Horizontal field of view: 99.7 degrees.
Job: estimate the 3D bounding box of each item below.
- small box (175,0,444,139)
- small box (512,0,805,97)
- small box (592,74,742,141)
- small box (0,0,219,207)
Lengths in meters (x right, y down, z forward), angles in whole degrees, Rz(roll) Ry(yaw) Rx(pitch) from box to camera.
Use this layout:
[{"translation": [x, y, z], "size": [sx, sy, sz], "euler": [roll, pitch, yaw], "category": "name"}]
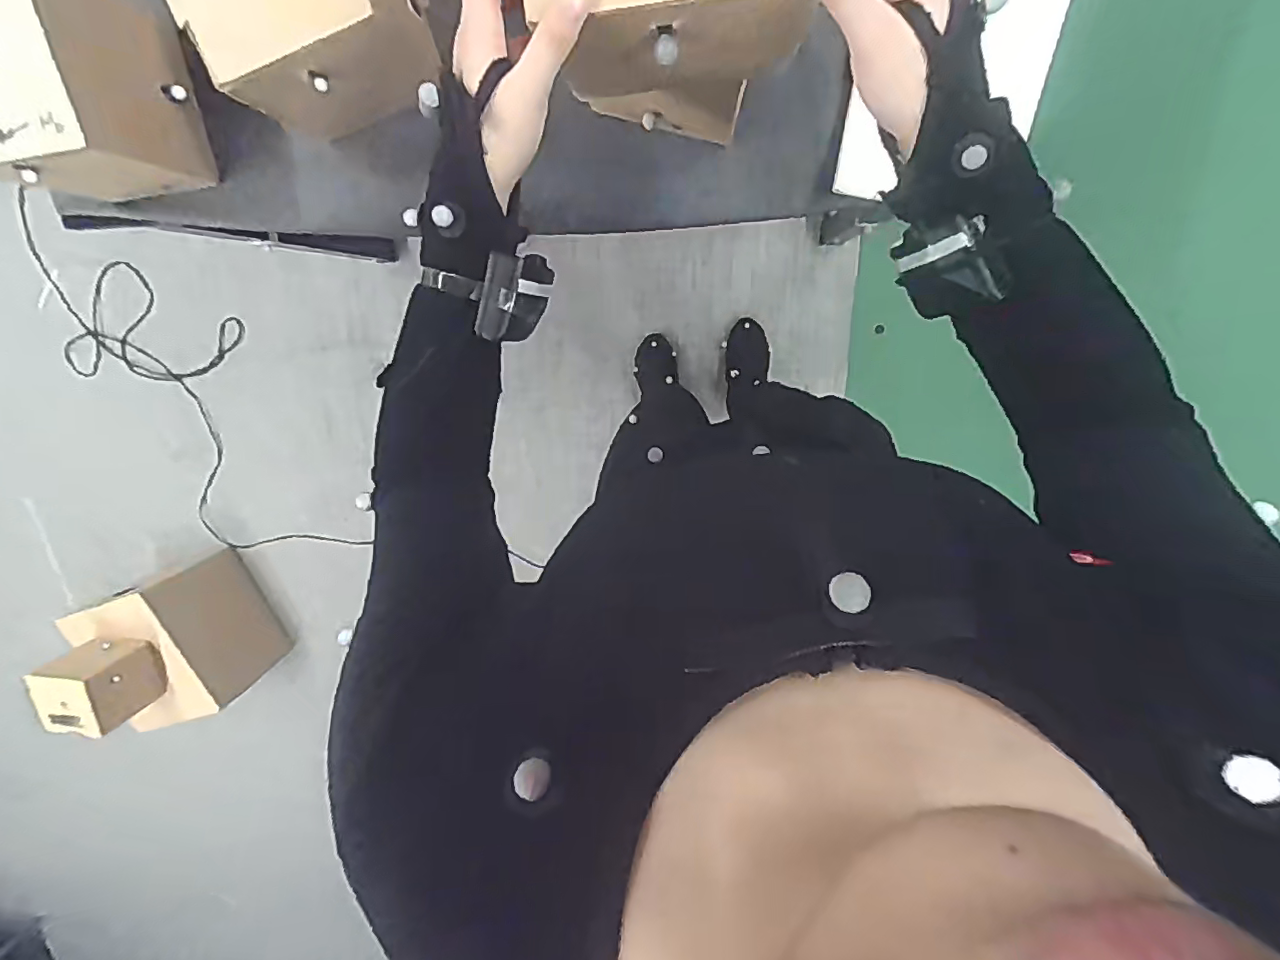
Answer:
[{"translation": [-0.340, -0.488, 0.559], "size": [0.179, 0.176, 0.168], "euler": [-15, 105, 10], "category": "small box"}, {"translation": [0.013, -0.379, 0.356], "size": [0.179, 0.176, 0.168], "euler": [-3, 112, 9], "category": "small box"}, {"translation": [0.030, -0.465, 0.522], "size": [0.168, 0.176, 0.179], "euler": [15, 108, 2], "category": "small box"}, {"translation": [-0.634, -0.427, 0.607], "size": [0.168, 0.176, 0.179], "euler": [-5, 107, 7], "category": "small box"}]
